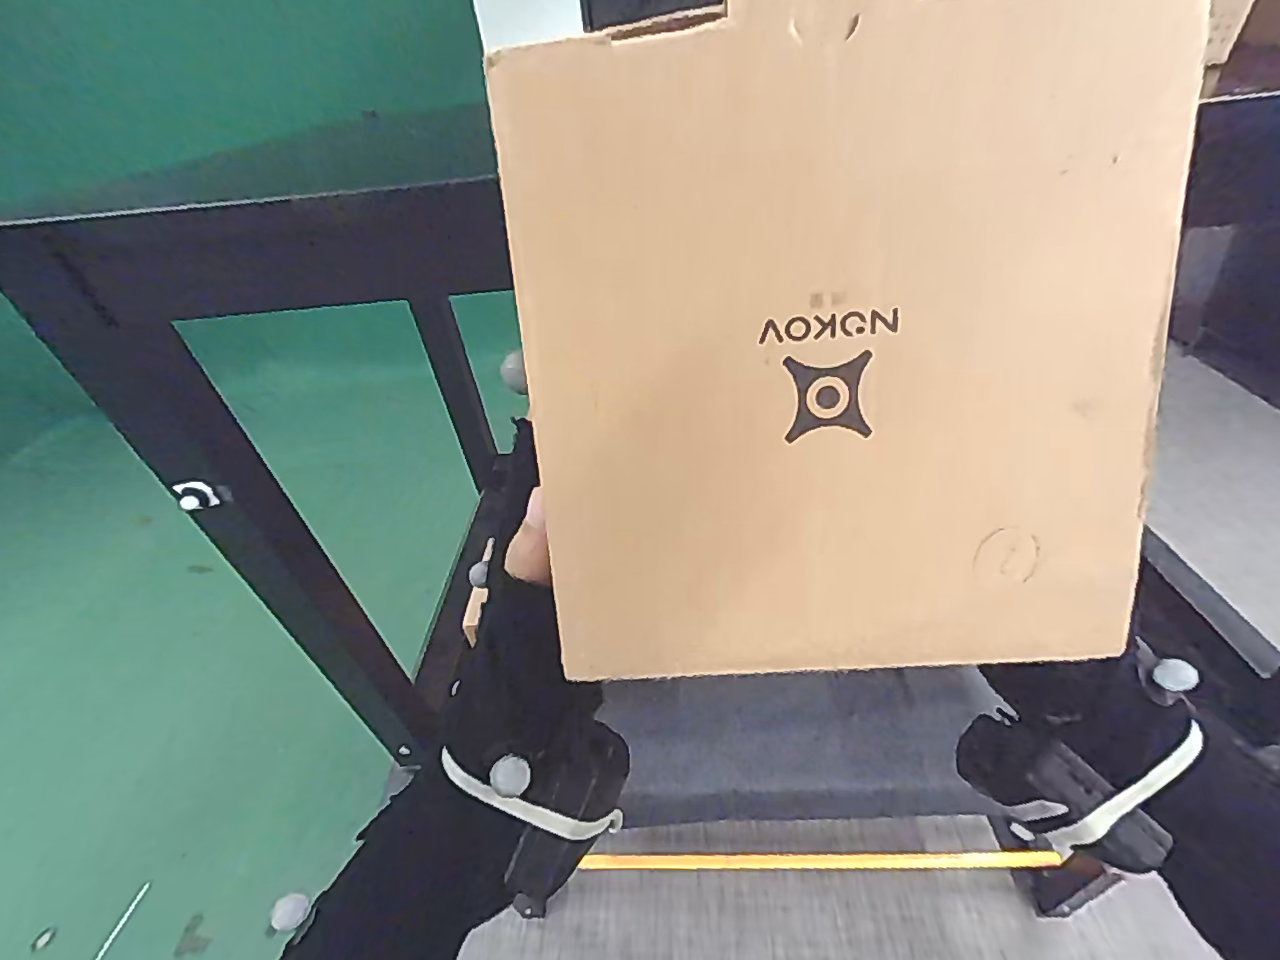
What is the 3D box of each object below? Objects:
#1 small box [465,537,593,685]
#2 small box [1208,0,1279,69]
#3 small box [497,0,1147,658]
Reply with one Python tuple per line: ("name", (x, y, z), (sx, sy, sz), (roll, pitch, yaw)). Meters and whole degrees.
("small box", (-0.164, 0.211, 0.885), (0.168, 0.176, 0.179), (-3, 39, 4))
("small box", (0.521, -0.359, 0.322), (0.168, 0.176, 0.179), (4, 39, 13))
("small box", (0.054, -0.046, 0.235), (0.168, 0.179, 0.176), (-4, 12, 4))
